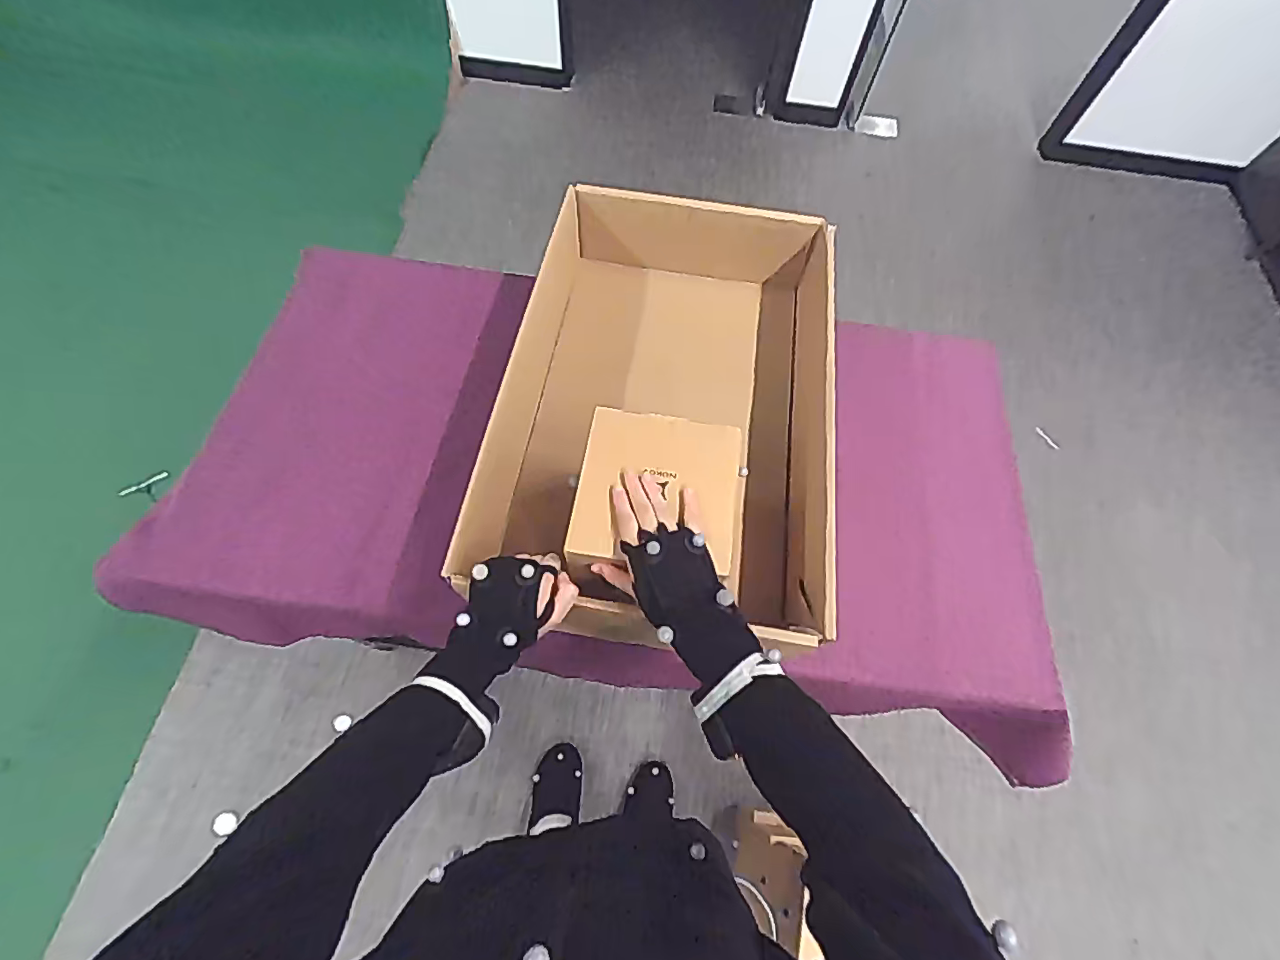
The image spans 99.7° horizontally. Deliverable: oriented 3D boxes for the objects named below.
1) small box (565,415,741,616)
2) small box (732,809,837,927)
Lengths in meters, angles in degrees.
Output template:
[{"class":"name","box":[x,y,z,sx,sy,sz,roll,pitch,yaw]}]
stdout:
[{"class":"small box","box":[0.017,0.050,0.637,0.168,0.176,0.179,8,63,2]},{"class":"small box","box":[0.302,0.813,1.150,0.179,0.176,0.168,7,64,1]}]
